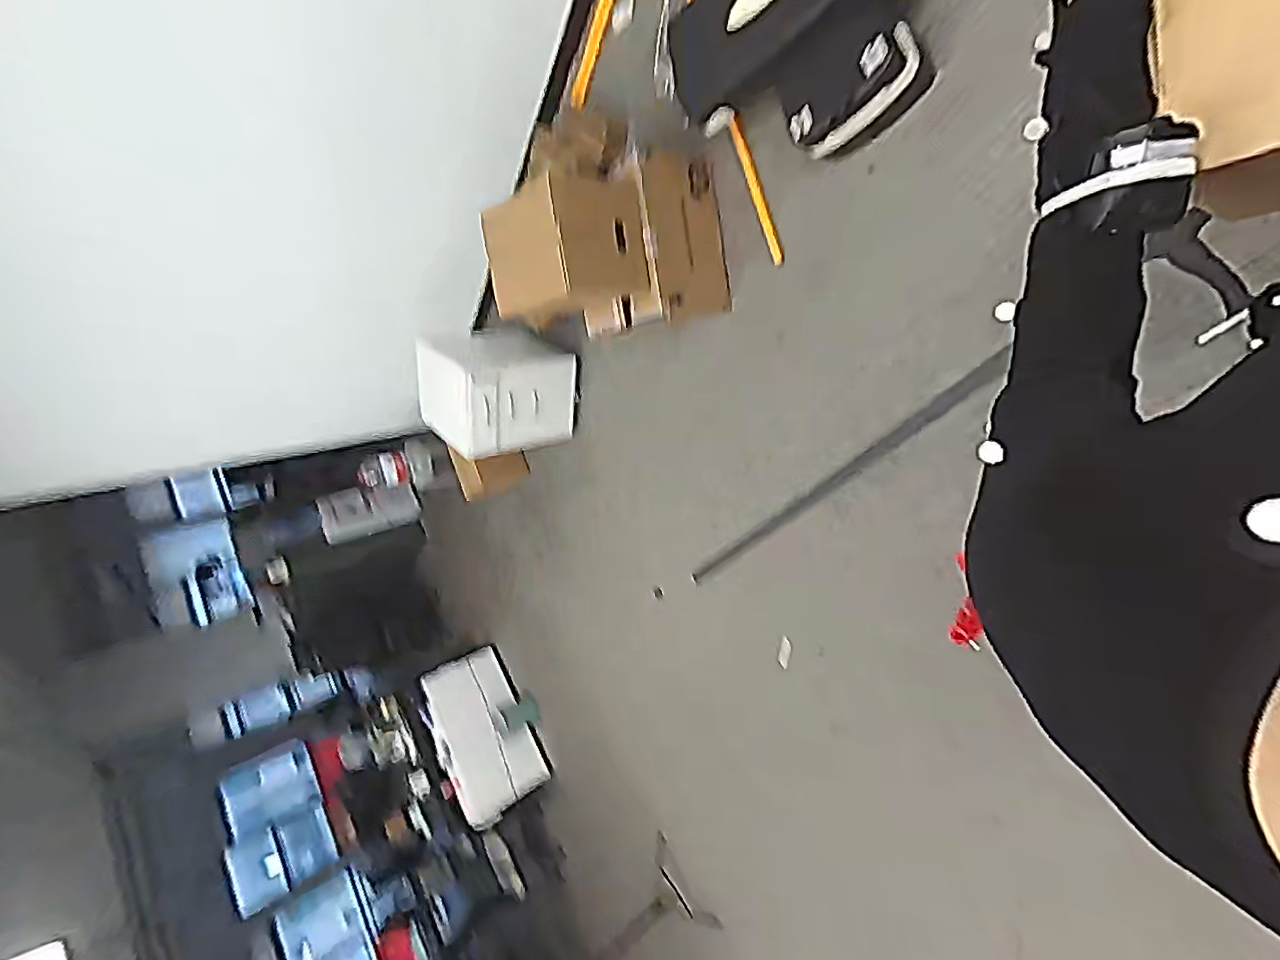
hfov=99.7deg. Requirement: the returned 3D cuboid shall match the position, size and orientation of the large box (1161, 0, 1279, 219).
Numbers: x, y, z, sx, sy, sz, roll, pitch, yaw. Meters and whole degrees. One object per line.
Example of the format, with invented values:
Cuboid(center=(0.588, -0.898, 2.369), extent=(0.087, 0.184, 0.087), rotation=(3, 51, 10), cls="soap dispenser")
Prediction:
Cuboid(center=(0.587, -0.390, 0.298), extent=(0.408, 0.320, 0.320), rotation=(1, 102, 53), cls="large box")
